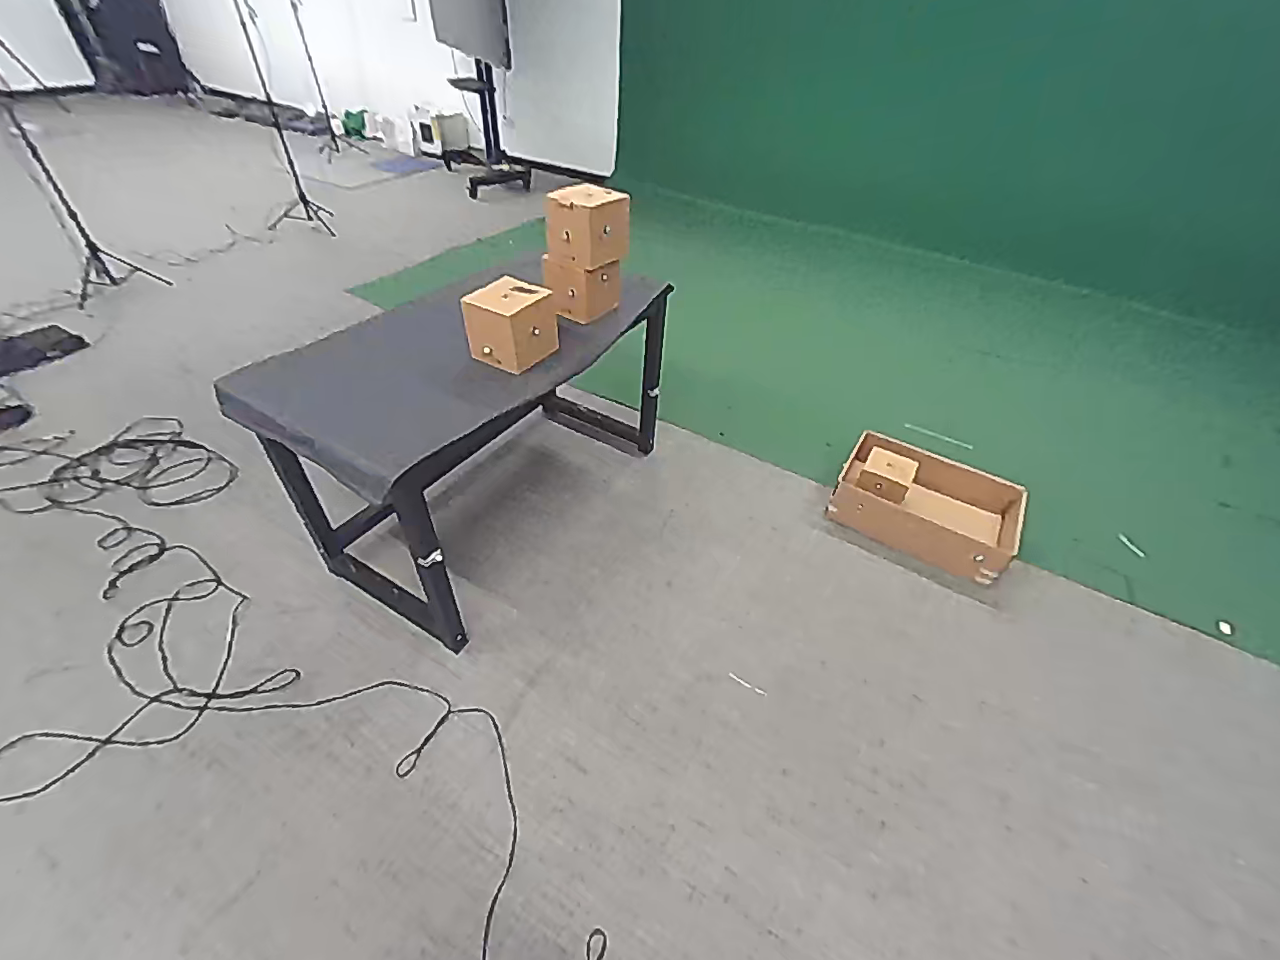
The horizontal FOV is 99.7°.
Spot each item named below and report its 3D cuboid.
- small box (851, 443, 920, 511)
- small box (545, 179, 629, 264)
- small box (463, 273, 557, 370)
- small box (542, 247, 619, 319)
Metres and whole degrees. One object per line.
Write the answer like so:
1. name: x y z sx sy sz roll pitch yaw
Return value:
1. small box: 0.942 -0.008 2.086 0.179 0.176 0.168 26 48 20
2. small box: -0.146 -0.732 1.535 0.168 0.176 0.179 29 49 24
3. small box: -0.333 -0.415 1.418 0.168 0.176 0.179 24 48 22
4. small box: -0.175 -0.612 1.645 0.168 0.176 0.179 27 46 22
